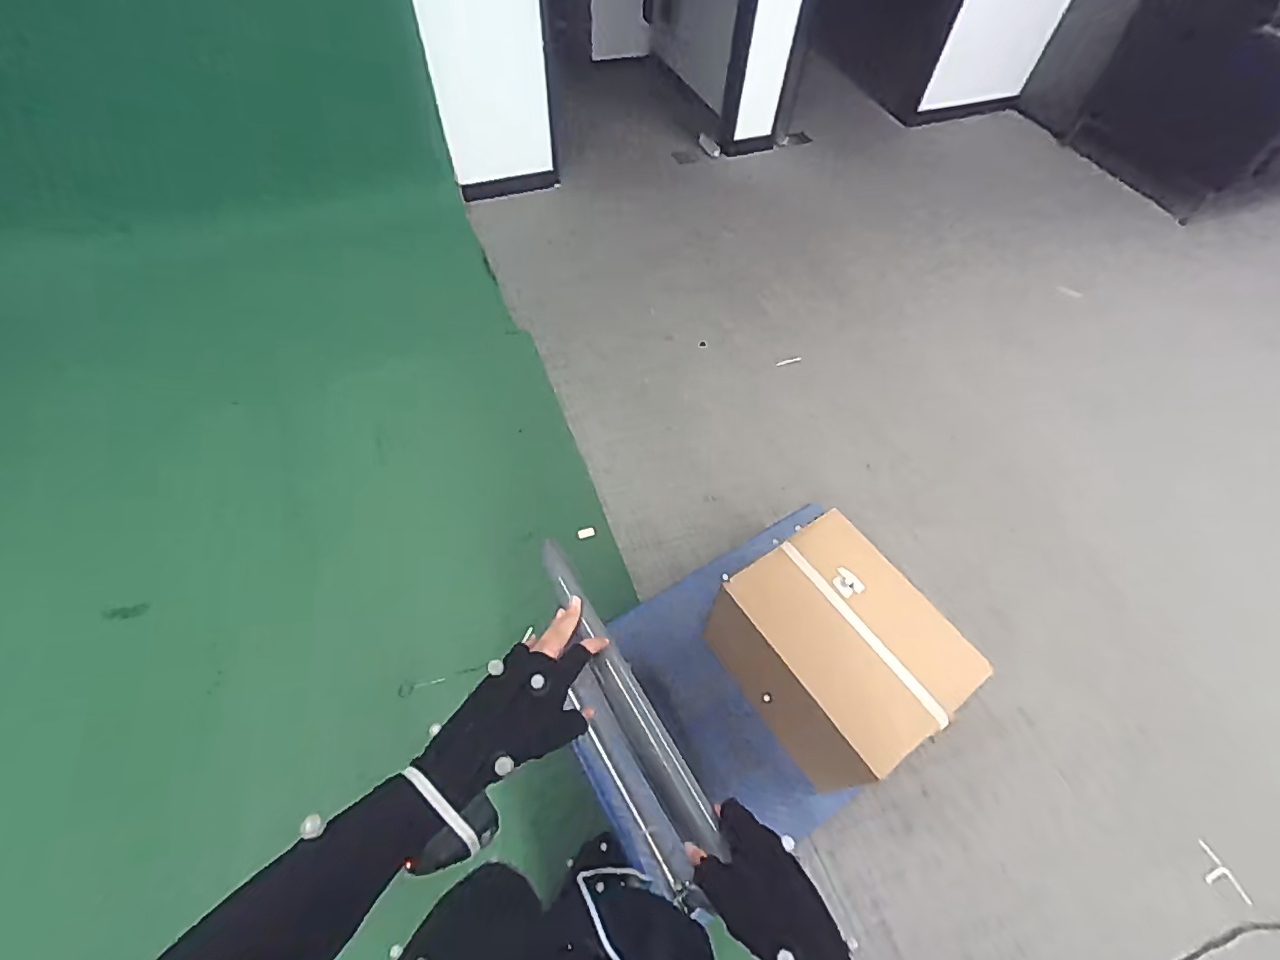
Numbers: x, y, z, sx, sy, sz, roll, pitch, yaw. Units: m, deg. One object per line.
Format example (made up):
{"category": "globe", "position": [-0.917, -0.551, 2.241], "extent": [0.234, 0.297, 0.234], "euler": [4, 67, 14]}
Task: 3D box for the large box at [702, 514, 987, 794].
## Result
{"category": "large box", "position": [0.380, 0.358, 1.119], "extent": [0.320, 0.320, 0.408], "euler": [-28, 61, -20]}
